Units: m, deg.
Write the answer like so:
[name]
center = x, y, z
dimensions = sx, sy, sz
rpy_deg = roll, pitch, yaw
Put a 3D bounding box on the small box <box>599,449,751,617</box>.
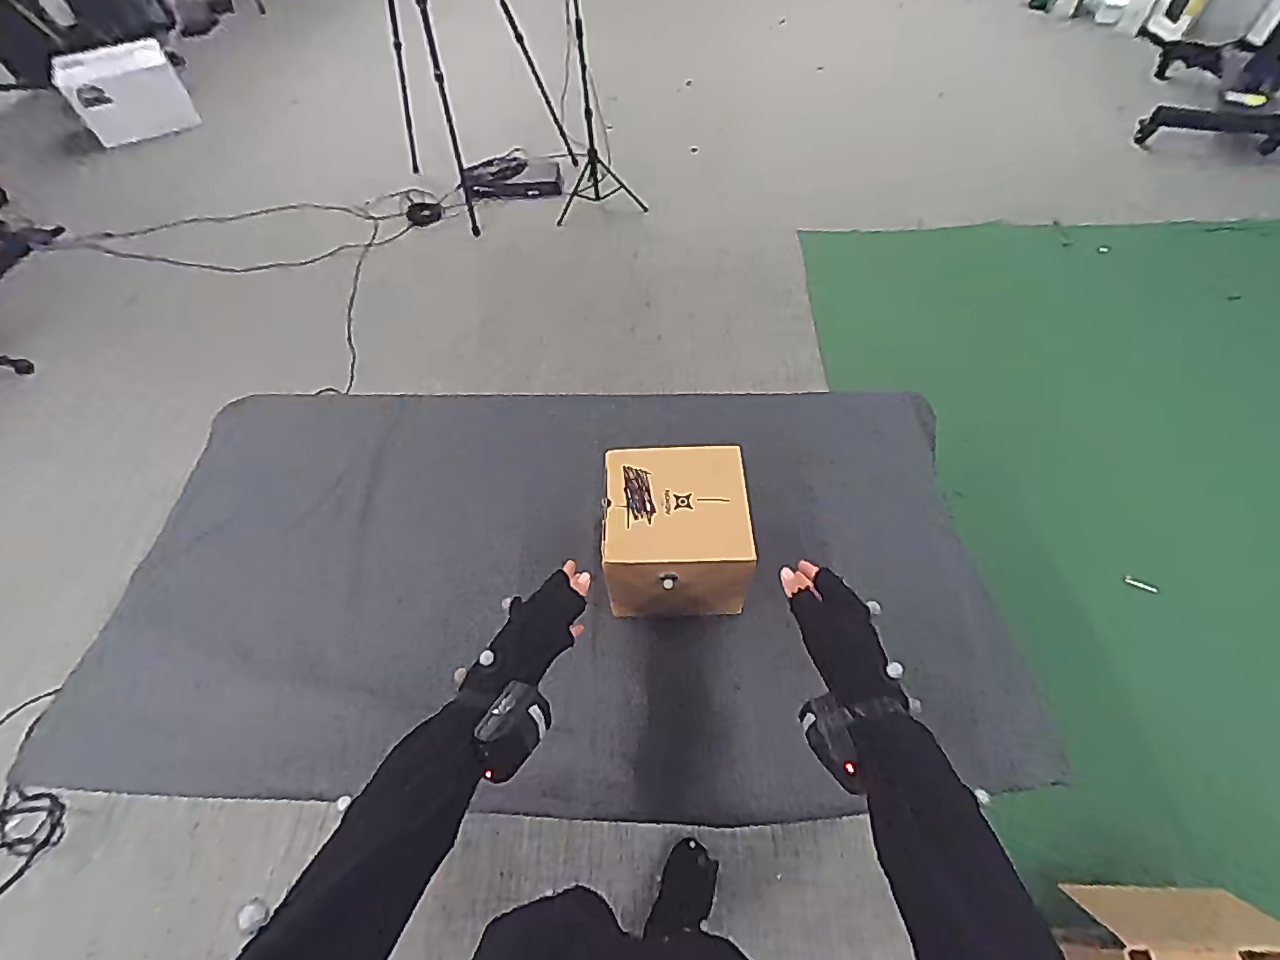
[small box]
center = 0.044, 0.076, 0.720
dimensions = 0.179, 0.176, 0.168
rpy_deg = -2, 55, 2
